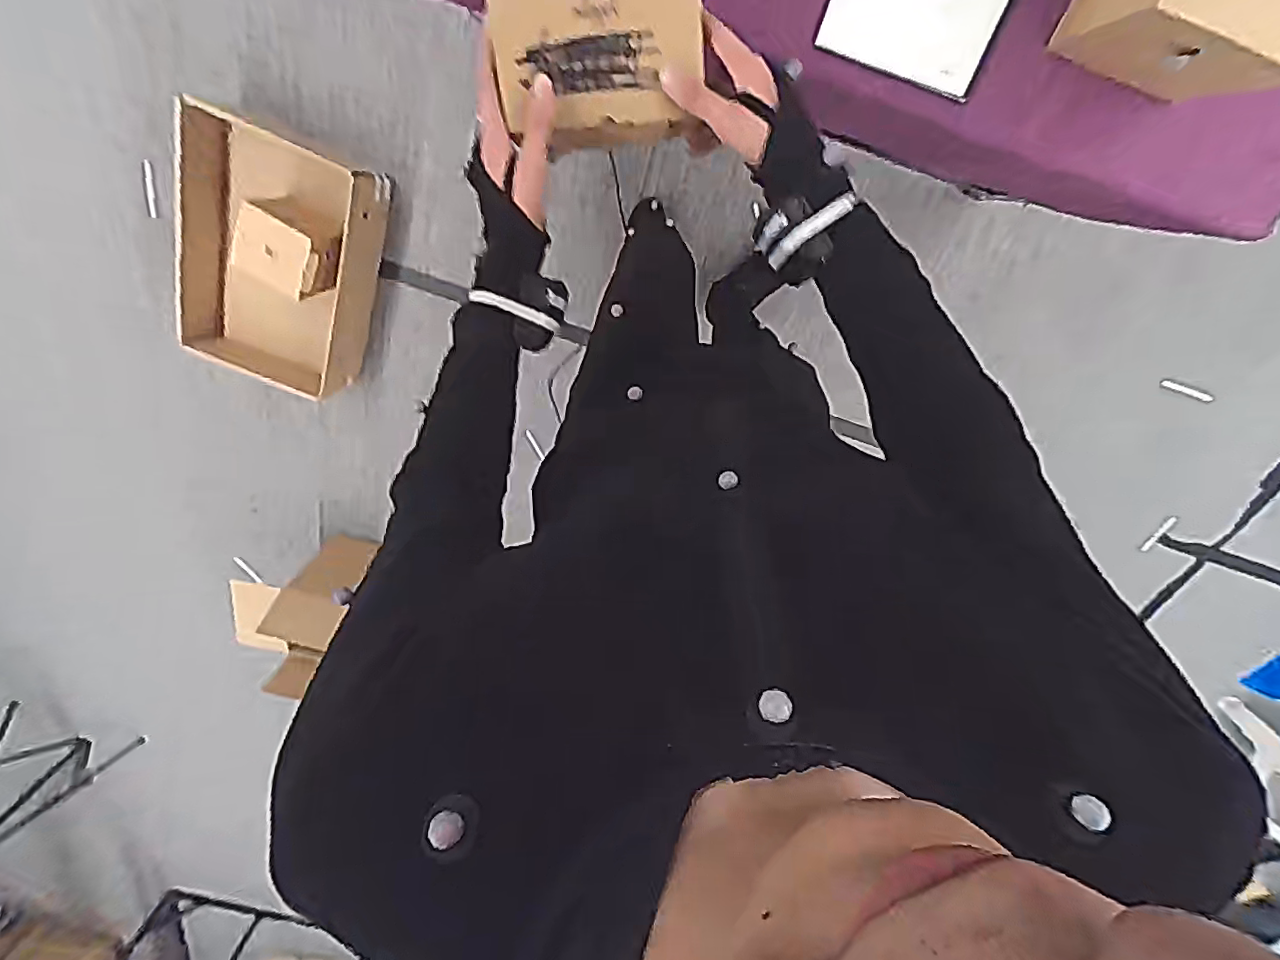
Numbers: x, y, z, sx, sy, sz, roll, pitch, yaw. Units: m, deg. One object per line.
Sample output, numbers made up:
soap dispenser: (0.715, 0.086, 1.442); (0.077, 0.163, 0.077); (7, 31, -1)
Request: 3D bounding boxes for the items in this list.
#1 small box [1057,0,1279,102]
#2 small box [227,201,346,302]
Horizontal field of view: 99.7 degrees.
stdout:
small box: (0.559, -0.485, 0.509); (0.179, 0.176, 0.168); (19, 119, -6)
small box: (-0.879, -0.580, 1.358); (0.179, 0.176, 0.168); (30, 117, -12)
